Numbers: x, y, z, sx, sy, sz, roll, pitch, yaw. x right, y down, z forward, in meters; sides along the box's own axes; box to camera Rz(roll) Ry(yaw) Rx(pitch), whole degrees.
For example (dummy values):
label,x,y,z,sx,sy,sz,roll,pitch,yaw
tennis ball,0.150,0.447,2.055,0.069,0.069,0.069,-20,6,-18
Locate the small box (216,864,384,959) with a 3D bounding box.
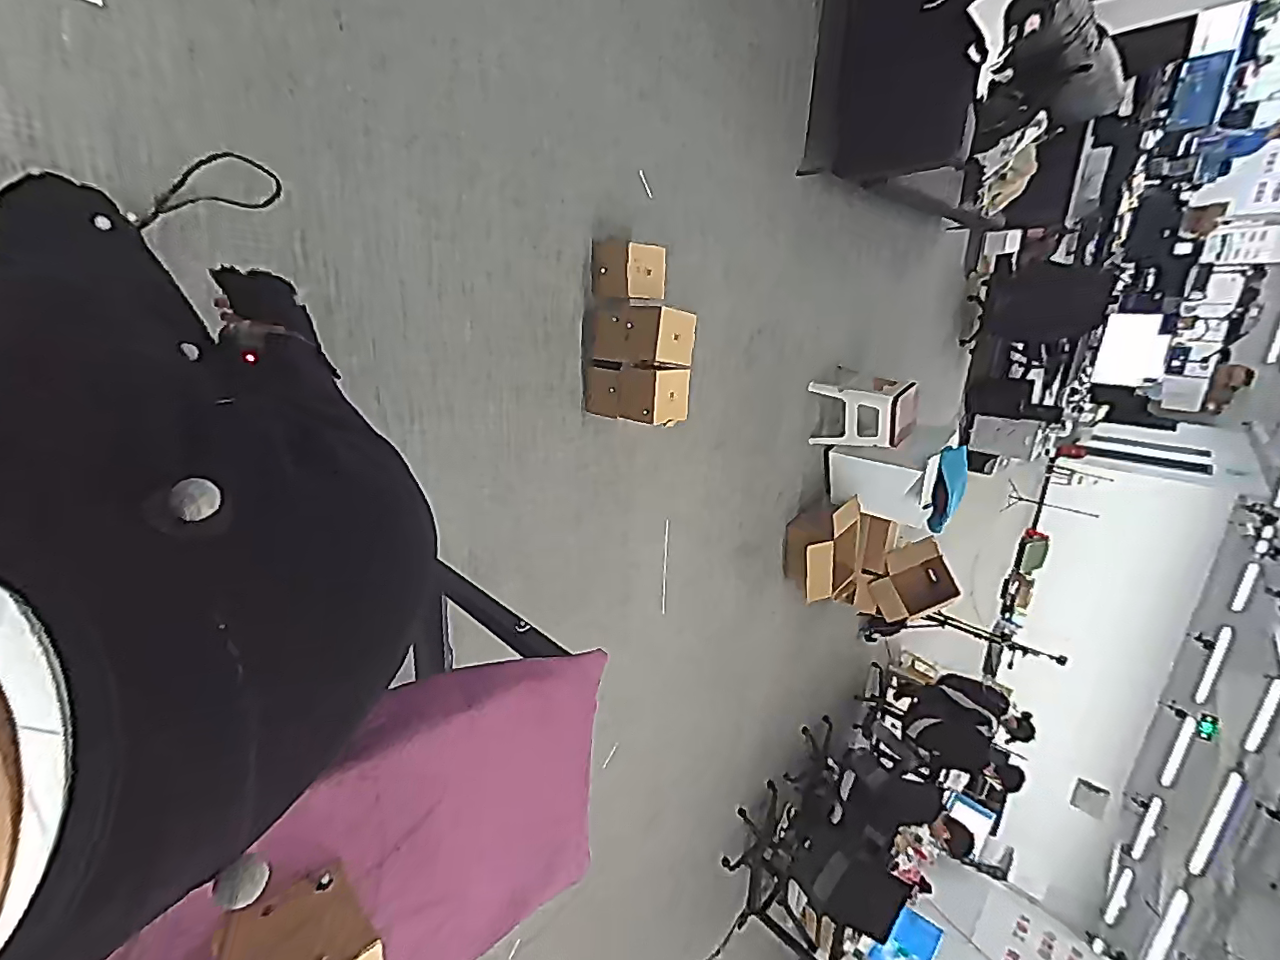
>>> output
label,x,y,z,sx,sy,sz,roll,pitch,yaw
small box,-0.479,0.696,0.767,0.168,0.176,0.179,-10,112,-44
